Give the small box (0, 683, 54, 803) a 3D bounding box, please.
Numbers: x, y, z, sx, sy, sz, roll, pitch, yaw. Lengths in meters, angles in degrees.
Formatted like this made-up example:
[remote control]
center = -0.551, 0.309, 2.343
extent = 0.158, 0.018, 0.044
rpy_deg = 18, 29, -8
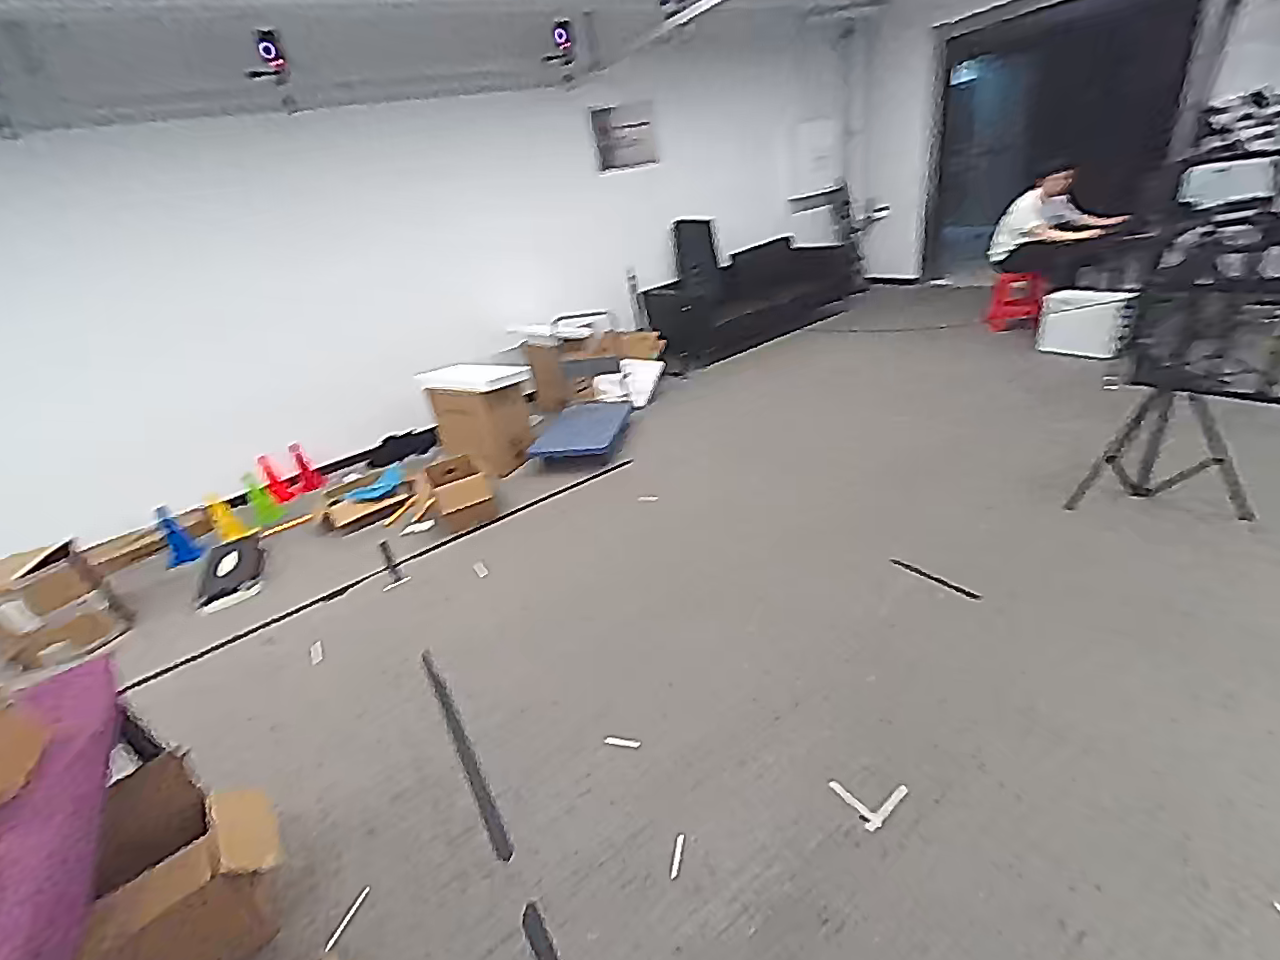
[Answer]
[small box]
center = -1.354, 0.557, 1.083
extent = 0.168, 0.176, 0.179
rpy_deg = -22, 29, -20
